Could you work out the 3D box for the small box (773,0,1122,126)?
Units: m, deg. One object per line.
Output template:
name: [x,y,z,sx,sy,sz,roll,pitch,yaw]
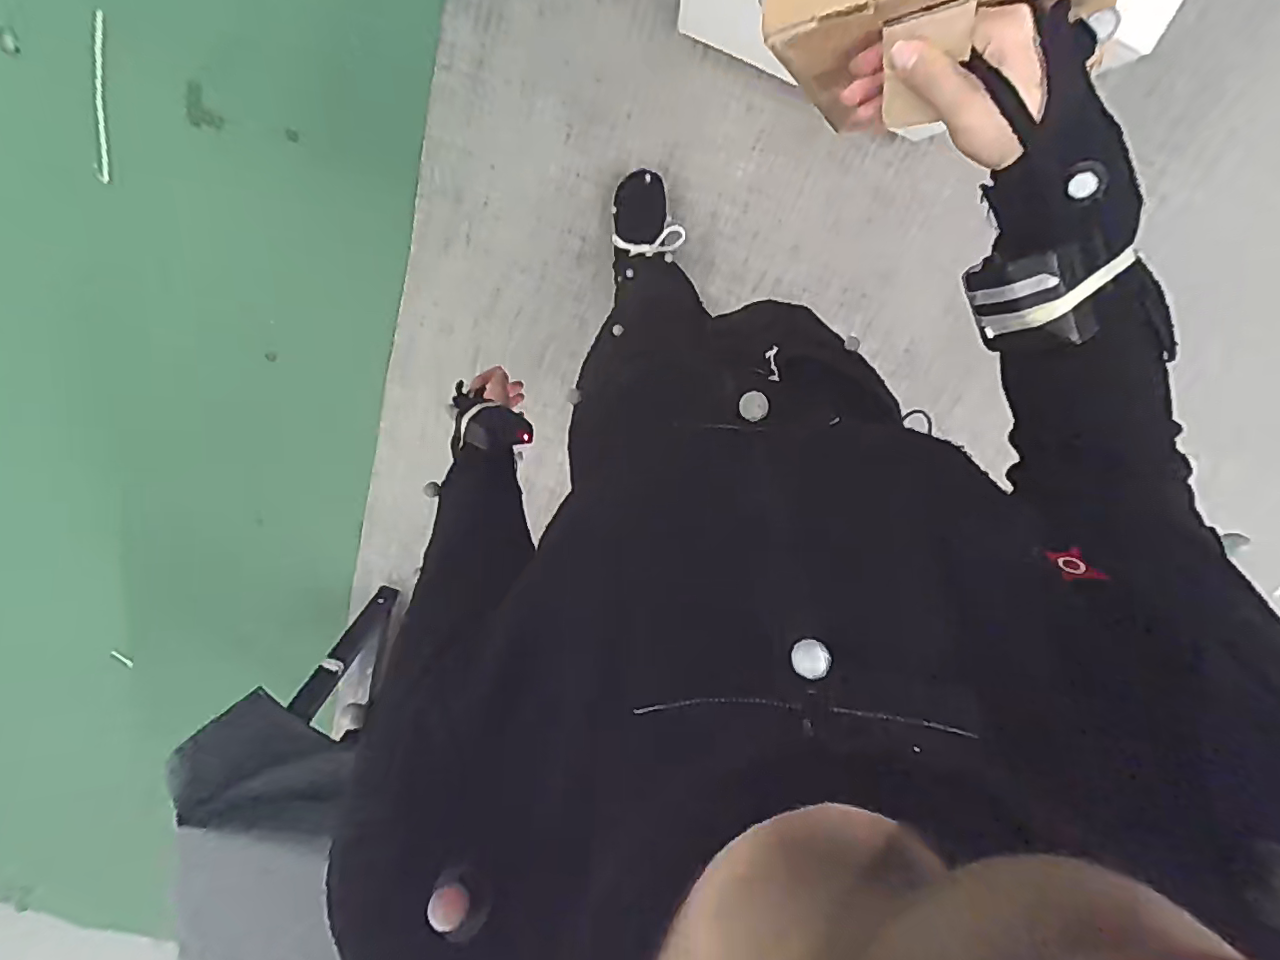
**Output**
small box: [0.188,-0.346,0.313,0.168,0.176,0.179,7,104,33]
